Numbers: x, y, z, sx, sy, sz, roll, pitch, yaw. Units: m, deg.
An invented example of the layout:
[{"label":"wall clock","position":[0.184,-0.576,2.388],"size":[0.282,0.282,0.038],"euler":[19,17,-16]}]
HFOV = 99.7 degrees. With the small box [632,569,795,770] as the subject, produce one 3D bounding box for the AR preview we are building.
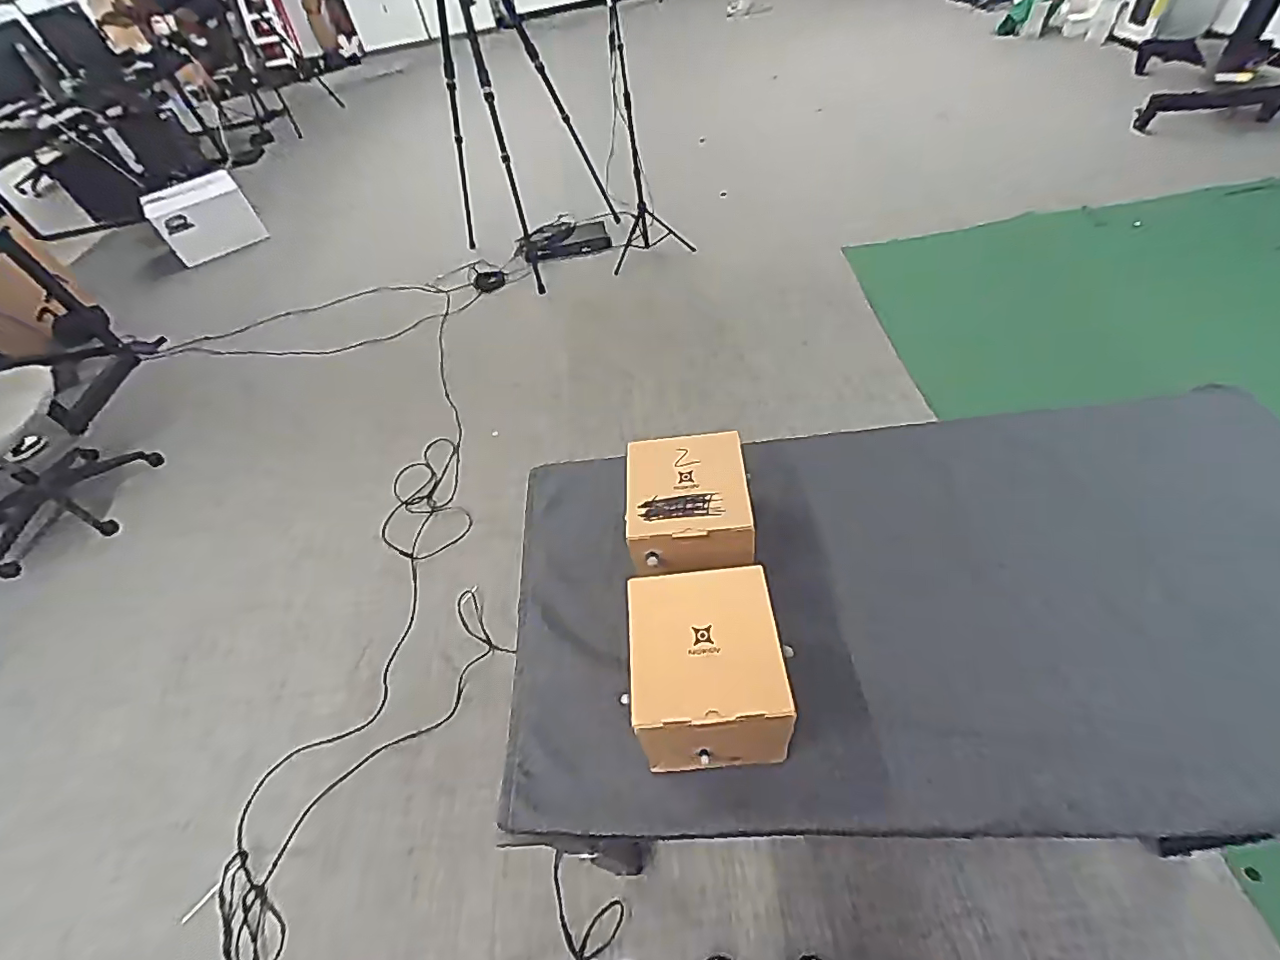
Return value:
[{"label":"small box","position":[0.082,0.233,0.661],"size":[0.168,0.176,0.179],"euler":[-7,48,4]}]
